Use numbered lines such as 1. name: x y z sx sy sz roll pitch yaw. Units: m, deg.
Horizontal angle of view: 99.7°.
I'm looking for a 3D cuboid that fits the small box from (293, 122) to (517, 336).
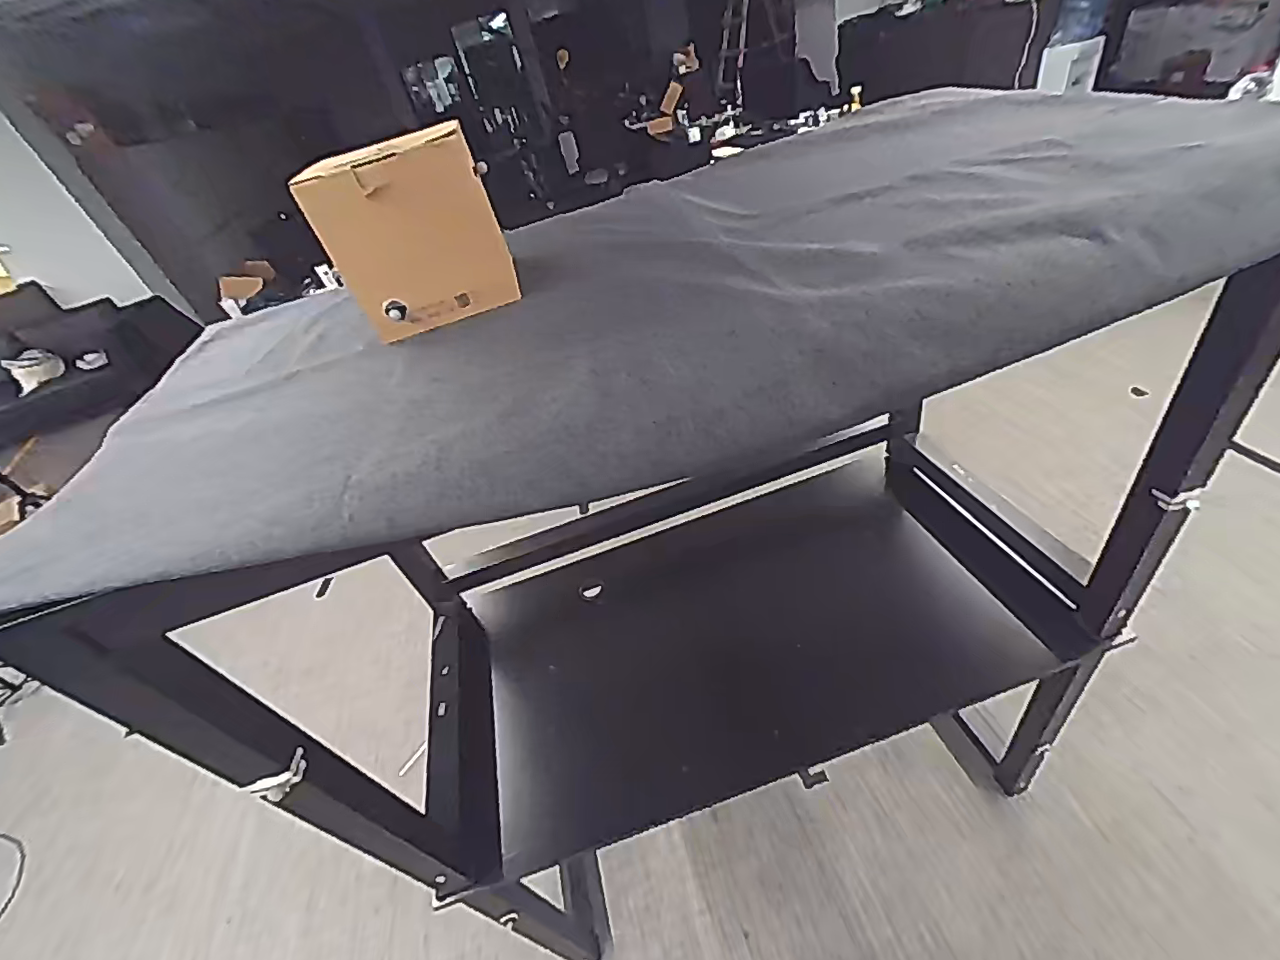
1. small box: -0.249 -0.285 0.622 0.168 0.176 0.179 -20 39 -3
